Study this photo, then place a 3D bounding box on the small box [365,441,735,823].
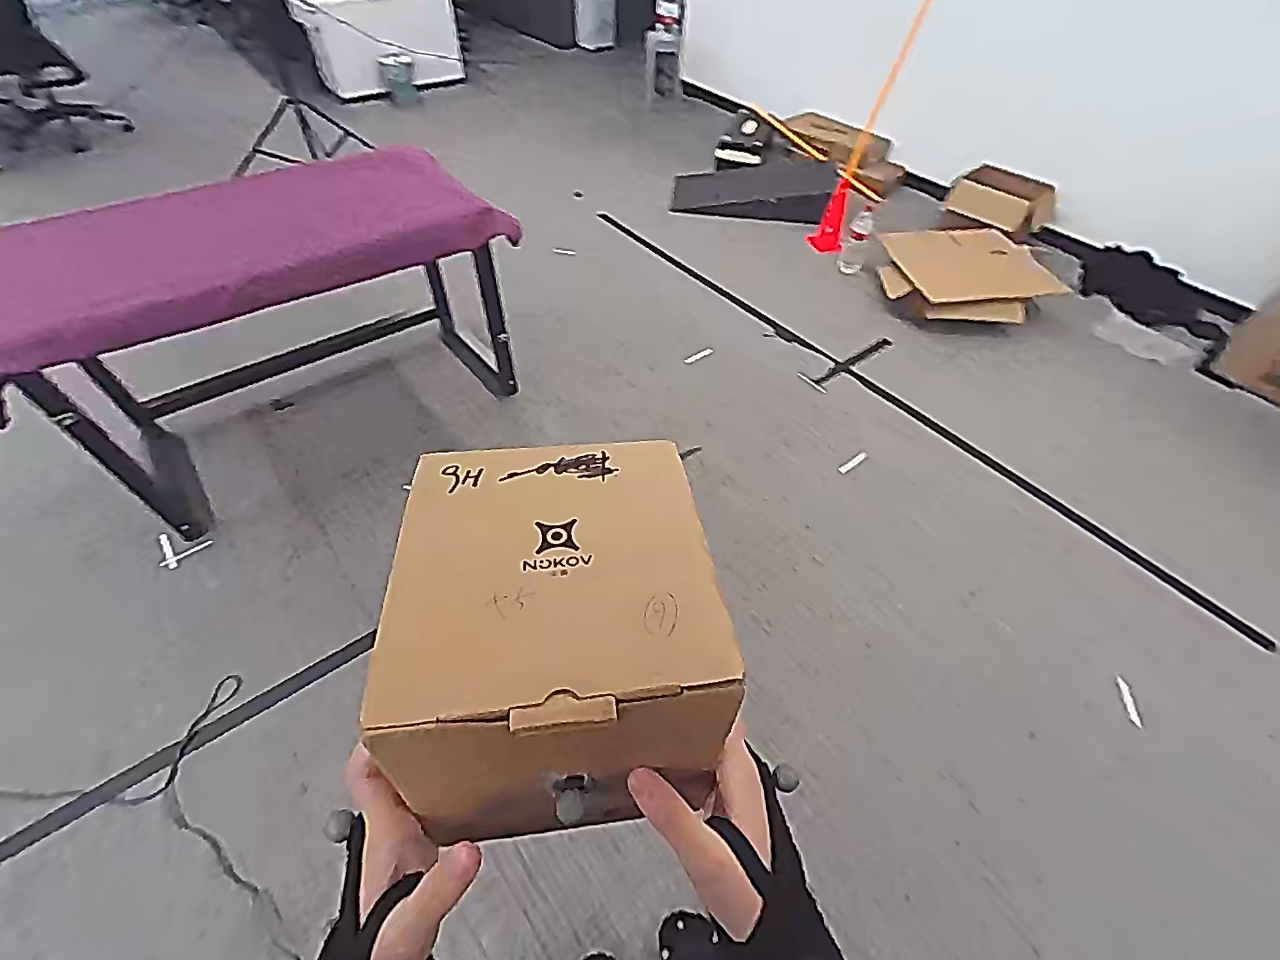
[{"bbox_3d":[-0.049,0.098,0.347,0.168,0.176,0.179,-4,44,-8],"label":"small box"}]
